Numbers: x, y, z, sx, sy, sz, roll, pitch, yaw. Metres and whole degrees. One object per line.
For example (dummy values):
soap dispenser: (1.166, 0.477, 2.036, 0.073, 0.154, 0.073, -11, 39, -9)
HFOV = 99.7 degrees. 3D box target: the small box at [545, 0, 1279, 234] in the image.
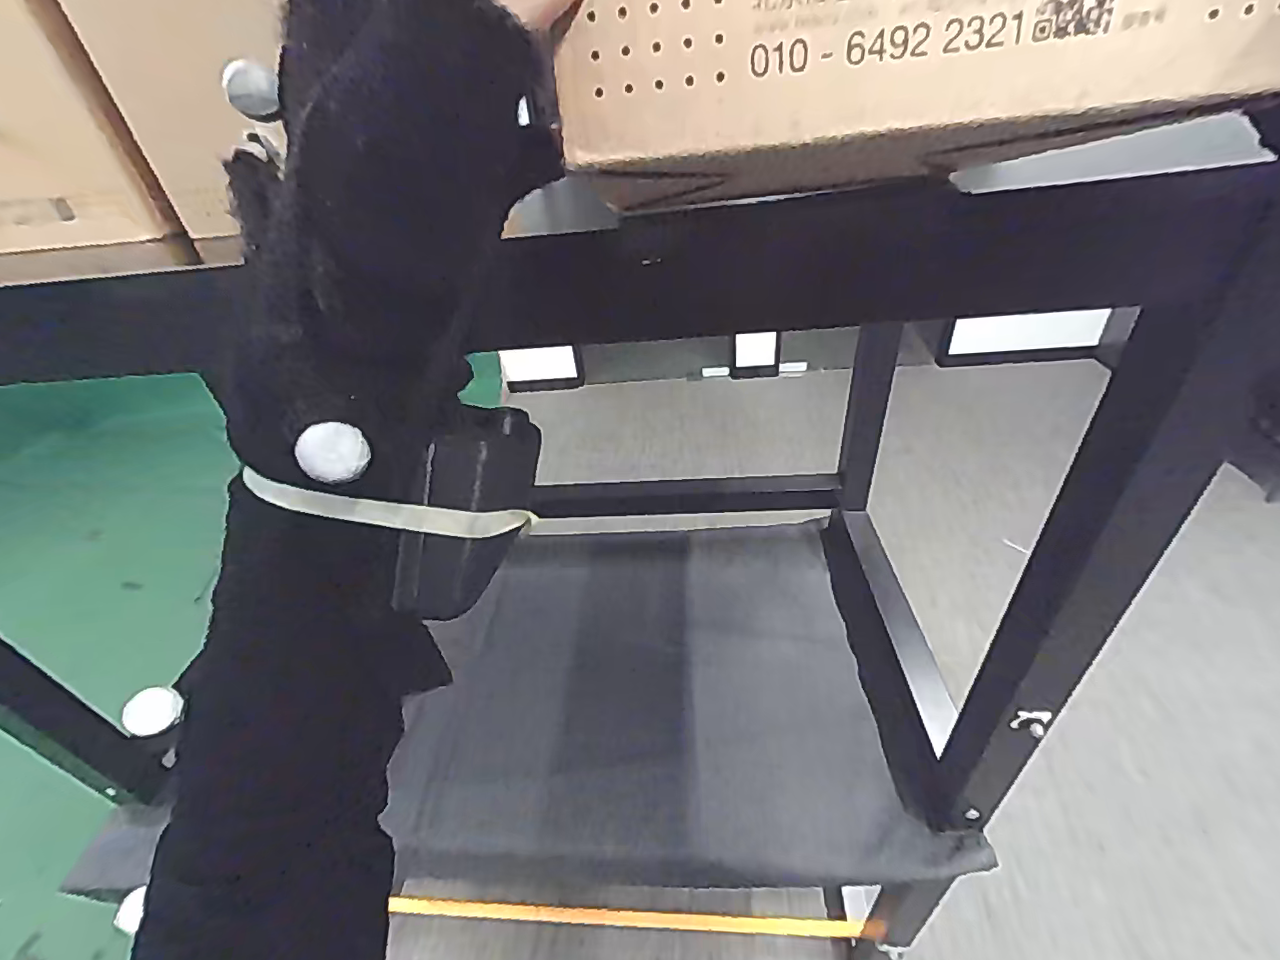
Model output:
small box: (0.059, -0.177, 0.164, 0.168, 0.176, 0.179, -4, 23, 4)

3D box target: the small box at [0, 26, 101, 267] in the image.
small box: (-0.596, -0.254, 0.423, 0.168, 0.176, 0.179, -2, 37, 8)
